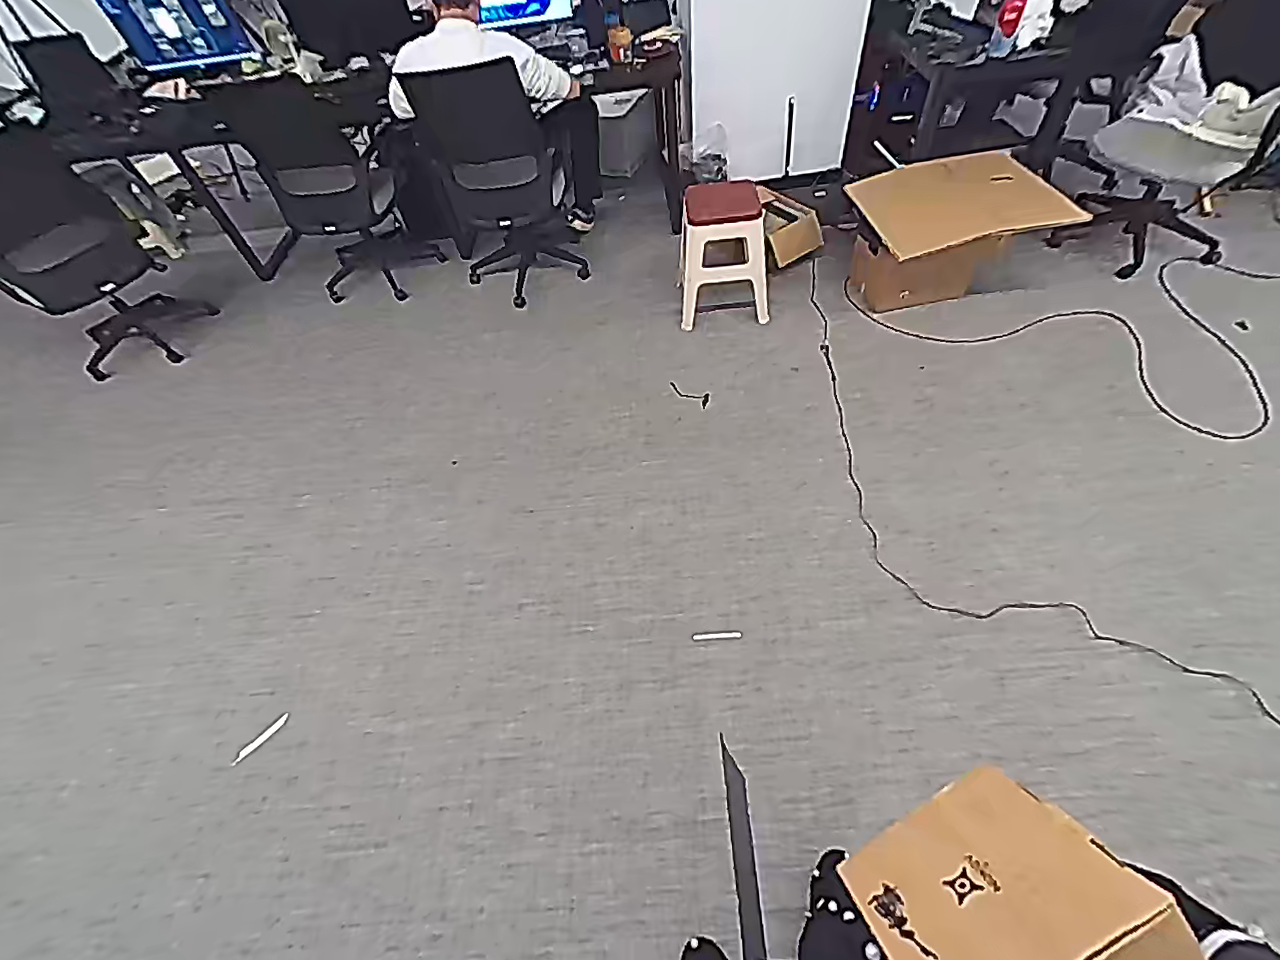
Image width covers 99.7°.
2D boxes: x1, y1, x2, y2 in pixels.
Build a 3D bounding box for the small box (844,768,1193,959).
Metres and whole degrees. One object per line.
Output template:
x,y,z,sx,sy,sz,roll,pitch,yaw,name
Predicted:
0.309,0.388,0.435,0.179,0.168,0.176,-32,93,-3,small box
